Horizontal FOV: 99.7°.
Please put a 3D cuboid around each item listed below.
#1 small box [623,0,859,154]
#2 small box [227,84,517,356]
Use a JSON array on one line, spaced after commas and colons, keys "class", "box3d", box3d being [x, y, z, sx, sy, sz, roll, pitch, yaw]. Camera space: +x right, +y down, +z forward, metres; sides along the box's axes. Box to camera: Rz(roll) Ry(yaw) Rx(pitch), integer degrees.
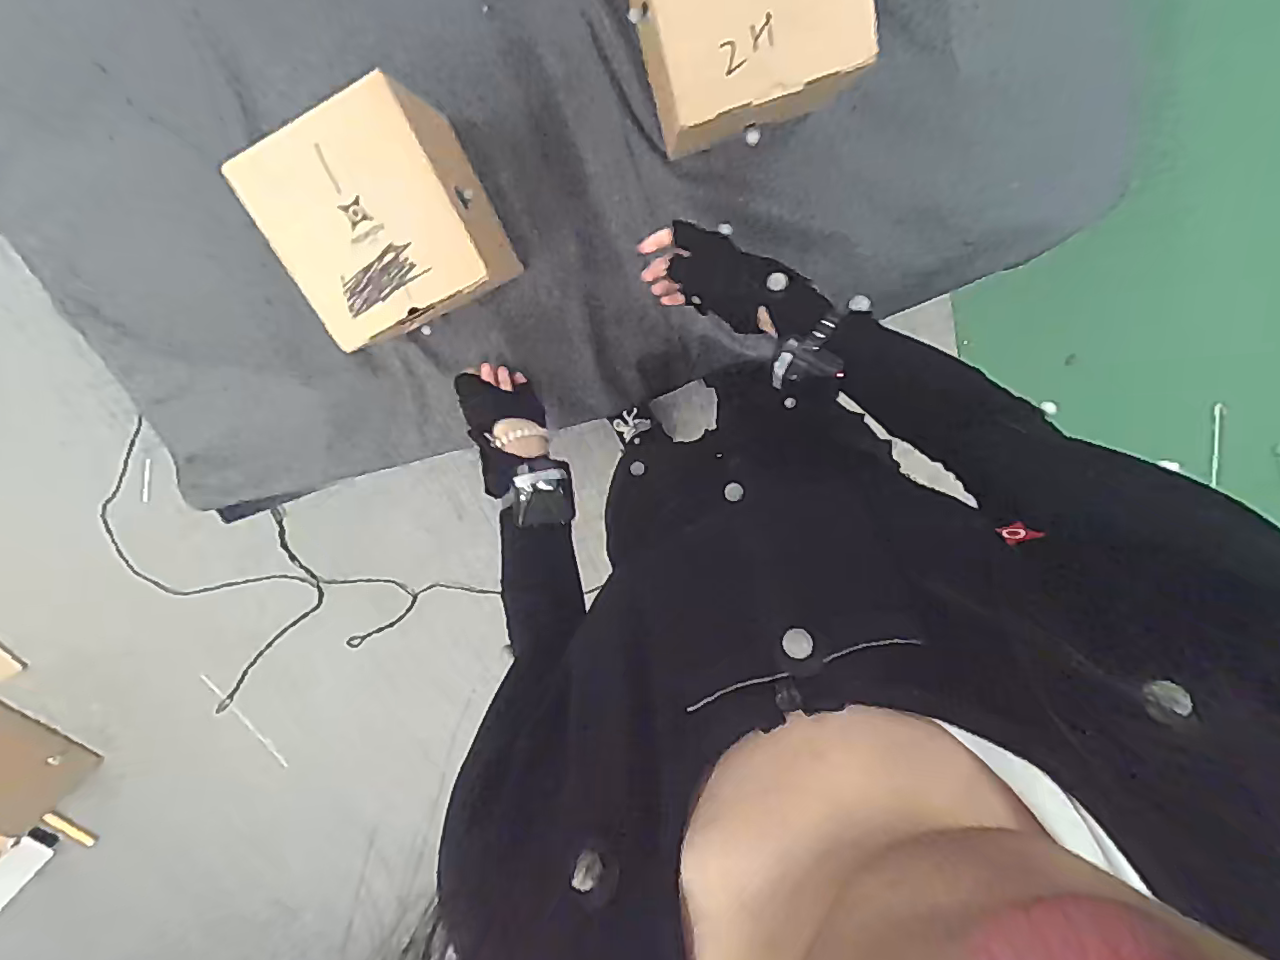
[{"class": "small box", "box3d": [0.079, -0.420, 0.489, 0.168, 0.176, 0.179, -14, 116, 4]}, {"class": "small box", "box3d": [-0.247, -0.251, 0.554, 0.168, 0.176, 0.179, -24, 110, 9]}]
